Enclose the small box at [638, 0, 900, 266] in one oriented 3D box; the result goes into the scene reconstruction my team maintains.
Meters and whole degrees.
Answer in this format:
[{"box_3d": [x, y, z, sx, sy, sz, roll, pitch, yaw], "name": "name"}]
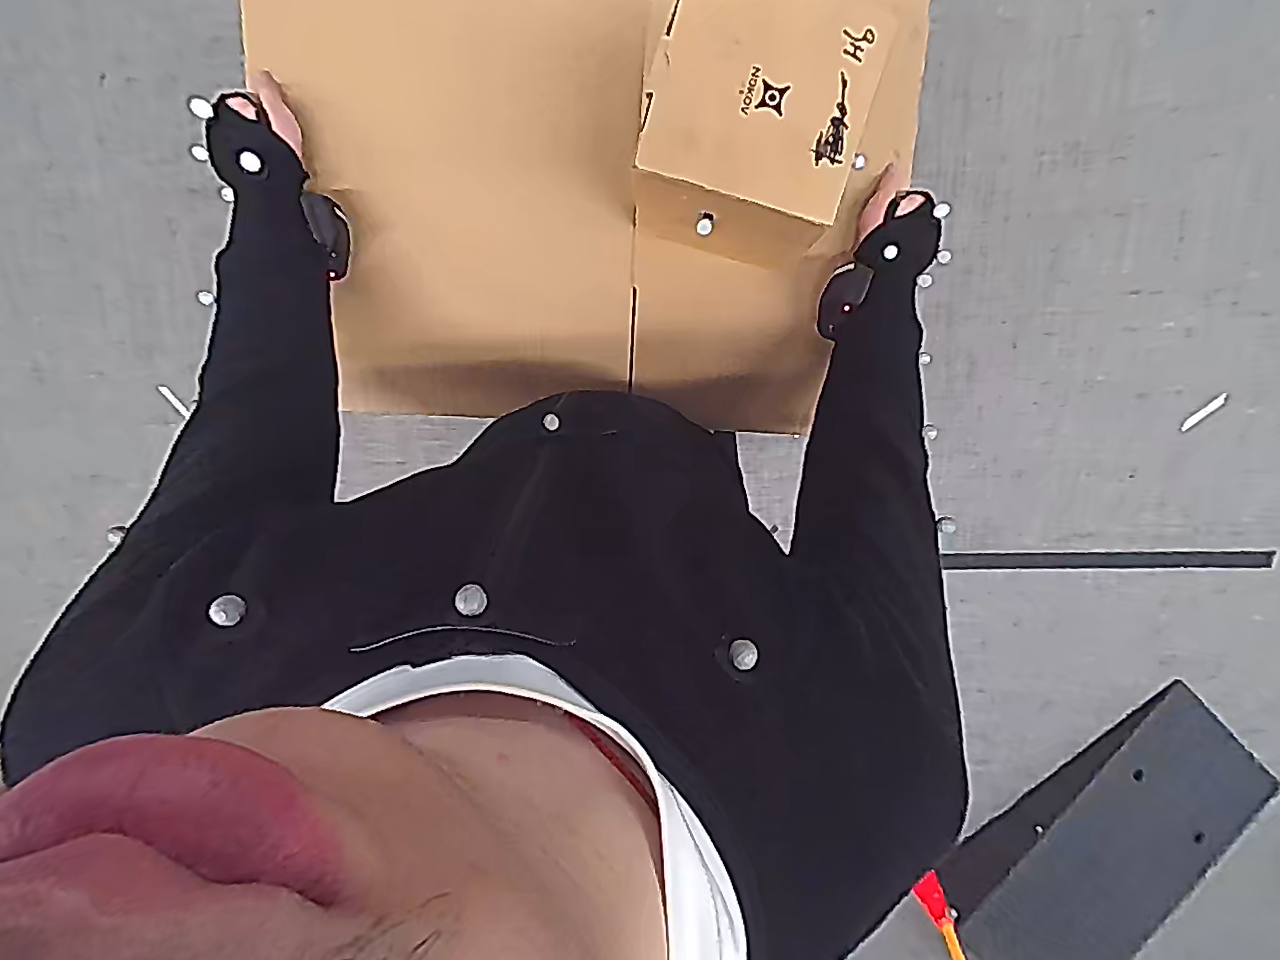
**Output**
[{"box_3d": [0.108, -0.327, 0.524, 0.179, 0.176, 0.168, 17, 98, 1], "name": "small box"}]
